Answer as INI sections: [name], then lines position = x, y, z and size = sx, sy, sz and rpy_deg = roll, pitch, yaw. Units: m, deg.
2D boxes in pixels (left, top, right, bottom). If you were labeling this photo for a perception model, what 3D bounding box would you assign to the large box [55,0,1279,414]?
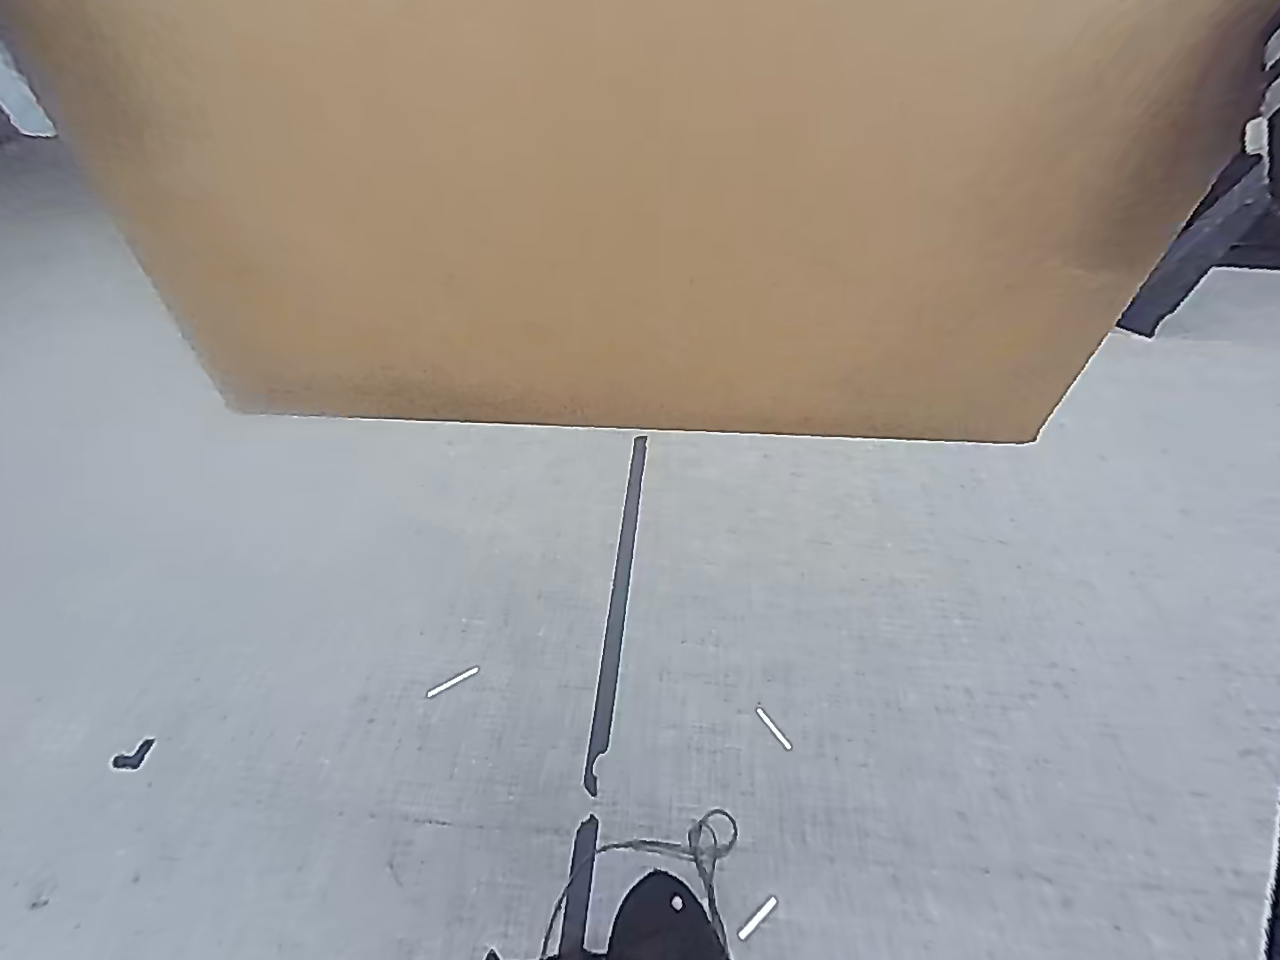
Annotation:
[large box]
position = 0.008, -0.250, 0.284
size = 0.408, 0.320, 0.320
rpy_deg = 3, 44, -1
